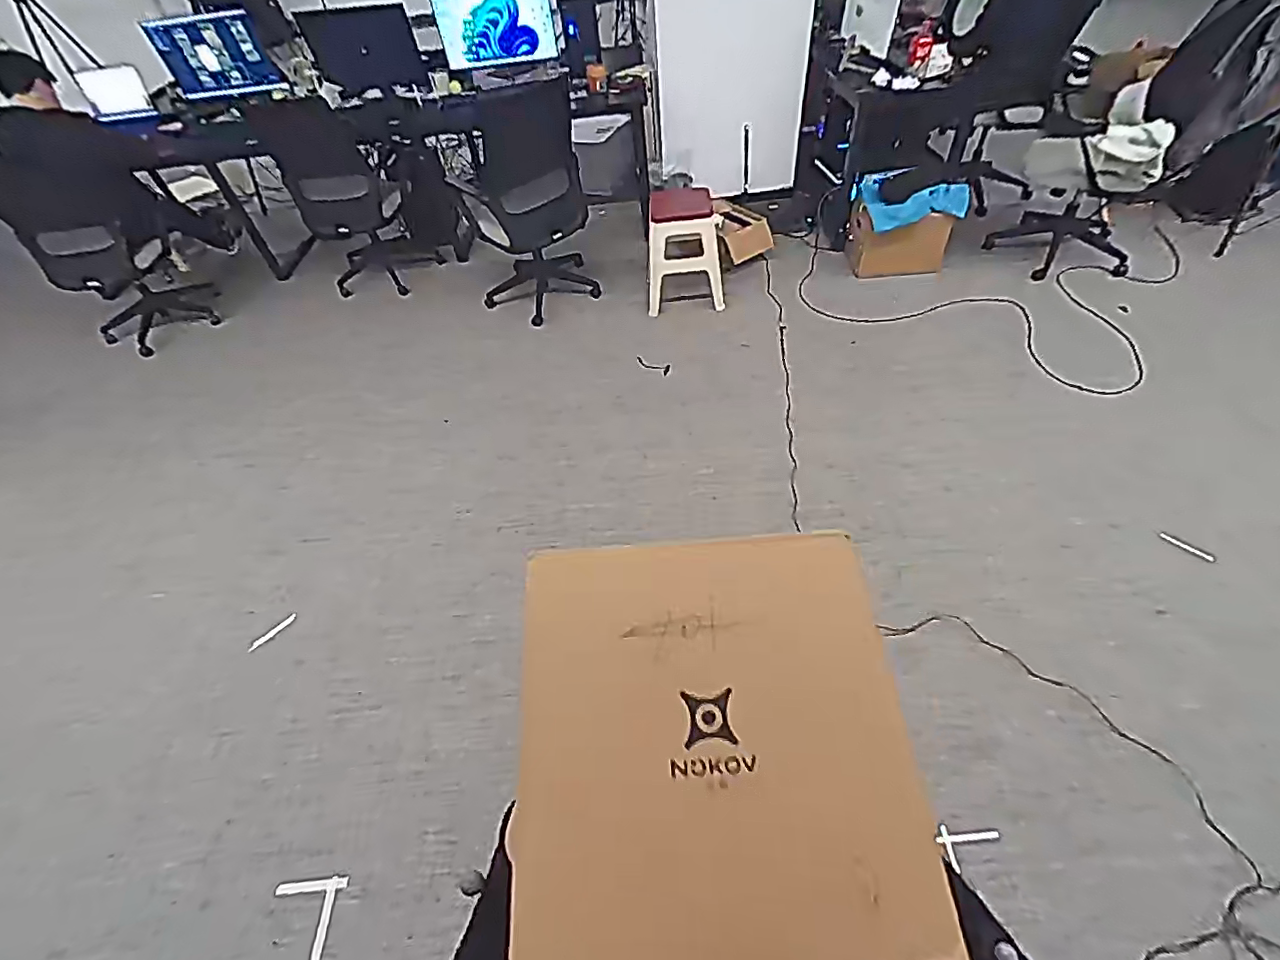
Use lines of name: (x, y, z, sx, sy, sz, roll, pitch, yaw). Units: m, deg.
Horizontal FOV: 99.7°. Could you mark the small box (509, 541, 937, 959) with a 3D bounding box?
small box: (0.029, 0.152, 0.313, 0.168, 0.176, 0.179, -3, 58, -1)
